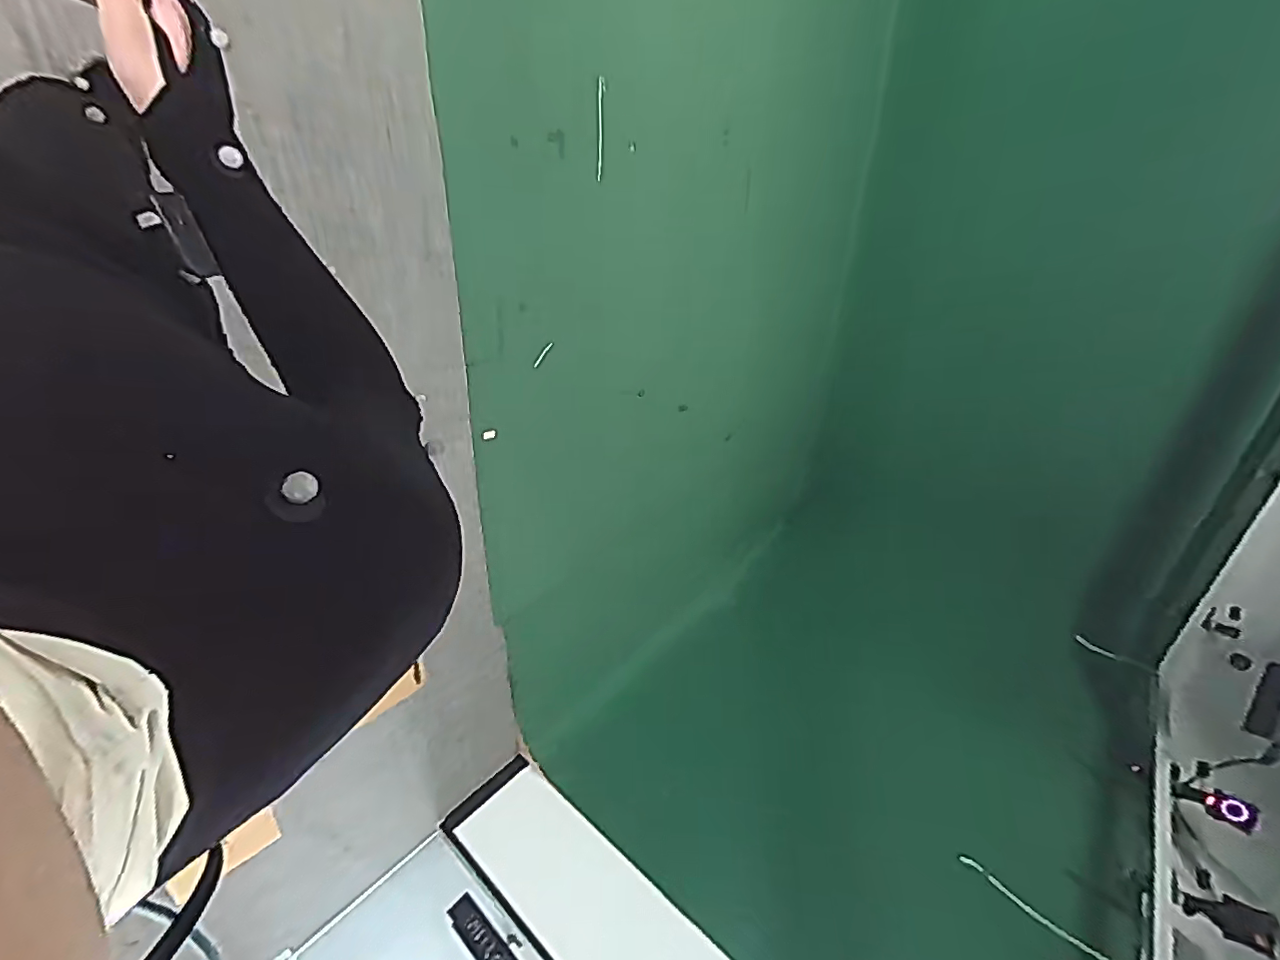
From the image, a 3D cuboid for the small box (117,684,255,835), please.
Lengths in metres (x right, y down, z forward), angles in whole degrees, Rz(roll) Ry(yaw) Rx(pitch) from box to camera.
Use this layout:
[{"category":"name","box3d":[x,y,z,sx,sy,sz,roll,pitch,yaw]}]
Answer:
[{"category":"small box","box3d":[-0.926,0.561,1.107,0.168,0.176,0.179,-24,126,-43]}]

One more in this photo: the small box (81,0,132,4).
[{"category":"small box","box3d":[-0.429,-0.435,0.325,0.168,0.176,0.179,-7,123,-47]}]
